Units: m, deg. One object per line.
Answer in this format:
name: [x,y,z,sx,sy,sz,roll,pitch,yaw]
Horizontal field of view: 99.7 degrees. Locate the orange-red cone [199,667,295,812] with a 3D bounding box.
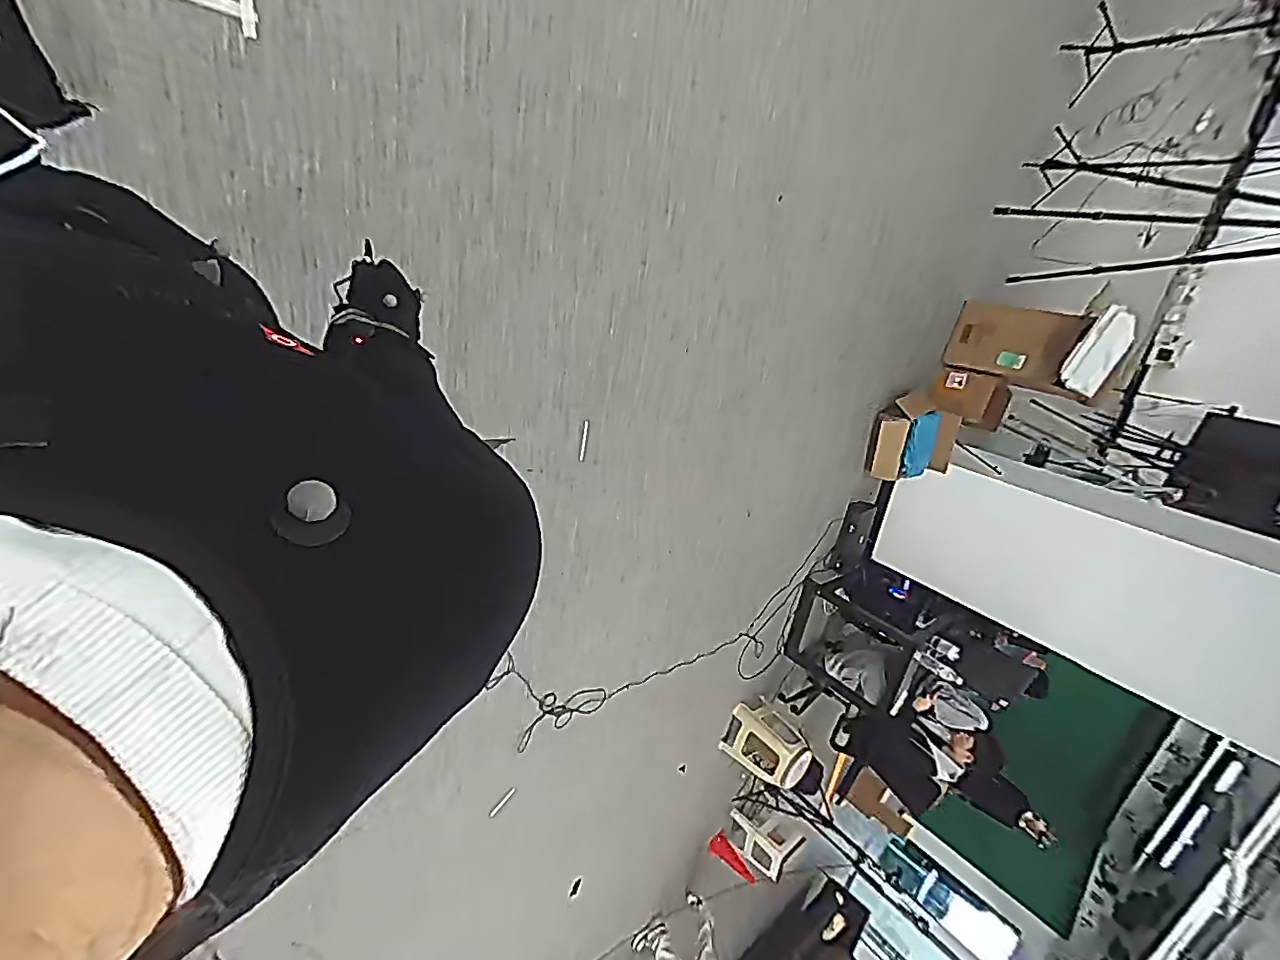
orange-red cone: [-0.926,0.651,1.306,0.199,0.360,0.198,2,109,-43]
